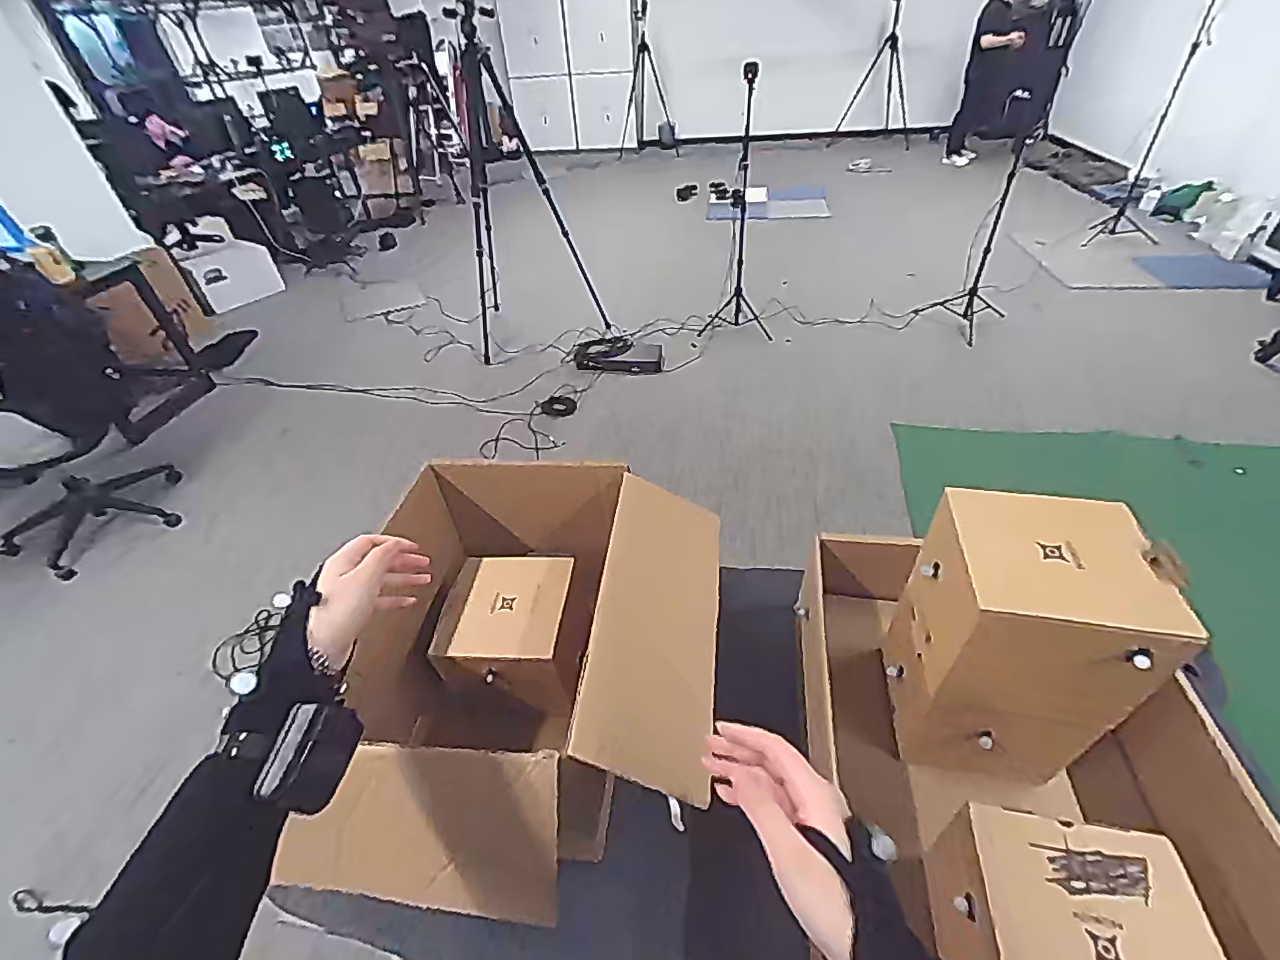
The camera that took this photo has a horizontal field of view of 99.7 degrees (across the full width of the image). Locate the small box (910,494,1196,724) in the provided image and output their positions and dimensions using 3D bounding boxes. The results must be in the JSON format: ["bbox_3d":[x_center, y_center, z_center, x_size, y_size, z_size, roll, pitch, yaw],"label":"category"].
[{"bbox_3d":[0.405,0.136,0.578,0.179,0.176,0.168,6,43,11],"label":"small box"}]
